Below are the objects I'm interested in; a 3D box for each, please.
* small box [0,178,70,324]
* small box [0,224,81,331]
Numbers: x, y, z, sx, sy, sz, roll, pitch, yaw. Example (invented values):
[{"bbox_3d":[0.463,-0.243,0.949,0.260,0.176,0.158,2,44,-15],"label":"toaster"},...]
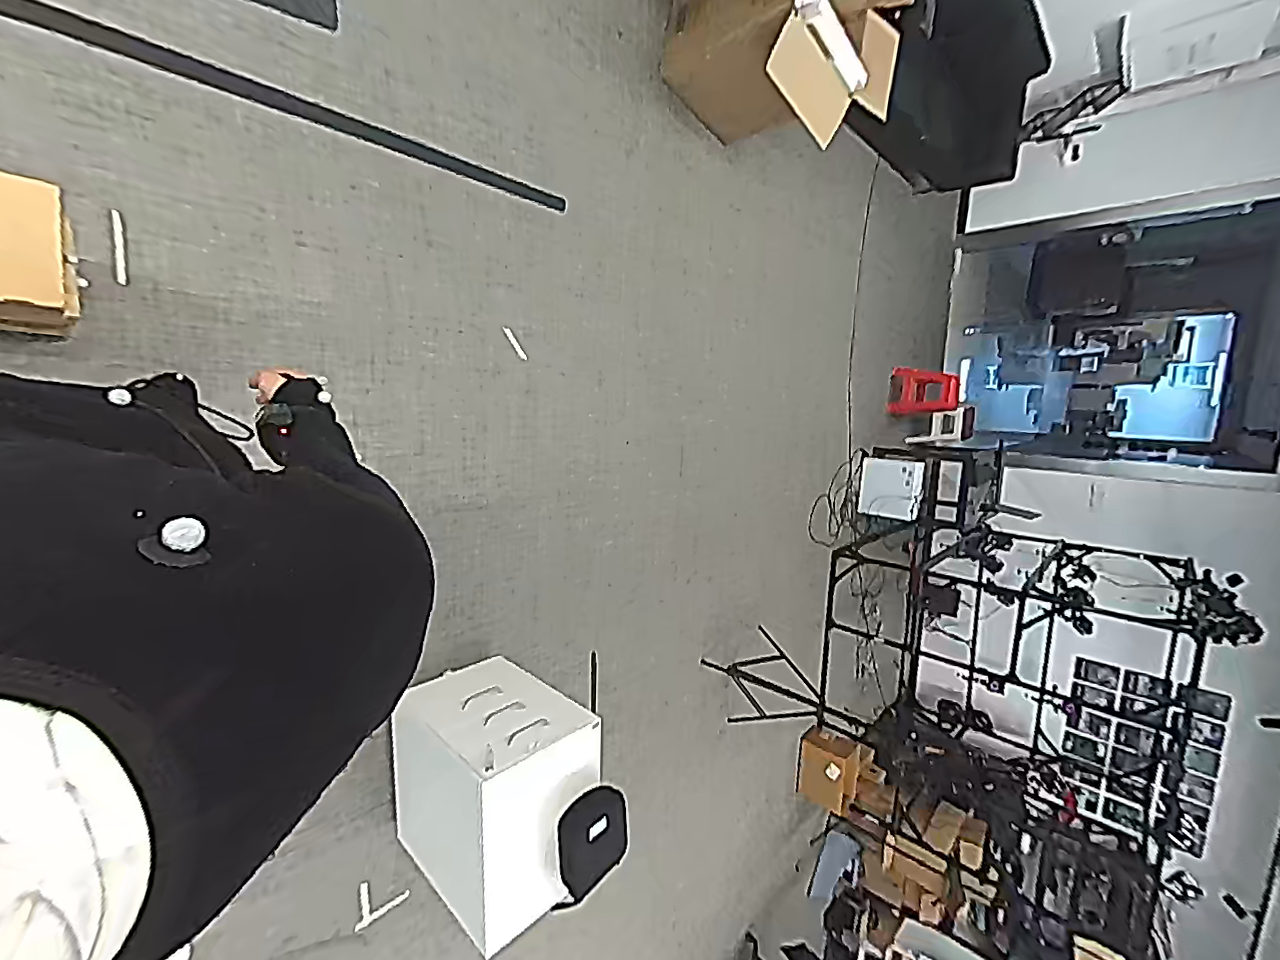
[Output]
[{"bbox_3d":[-0.950,-0.333,0.780,0.168,0.176,0.179,-3,99,-48],"label":"small box"},{"bbox_3d":[-1.062,-0.345,0.898,0.179,0.176,0.168,-6,101,-48],"label":"small box"}]
